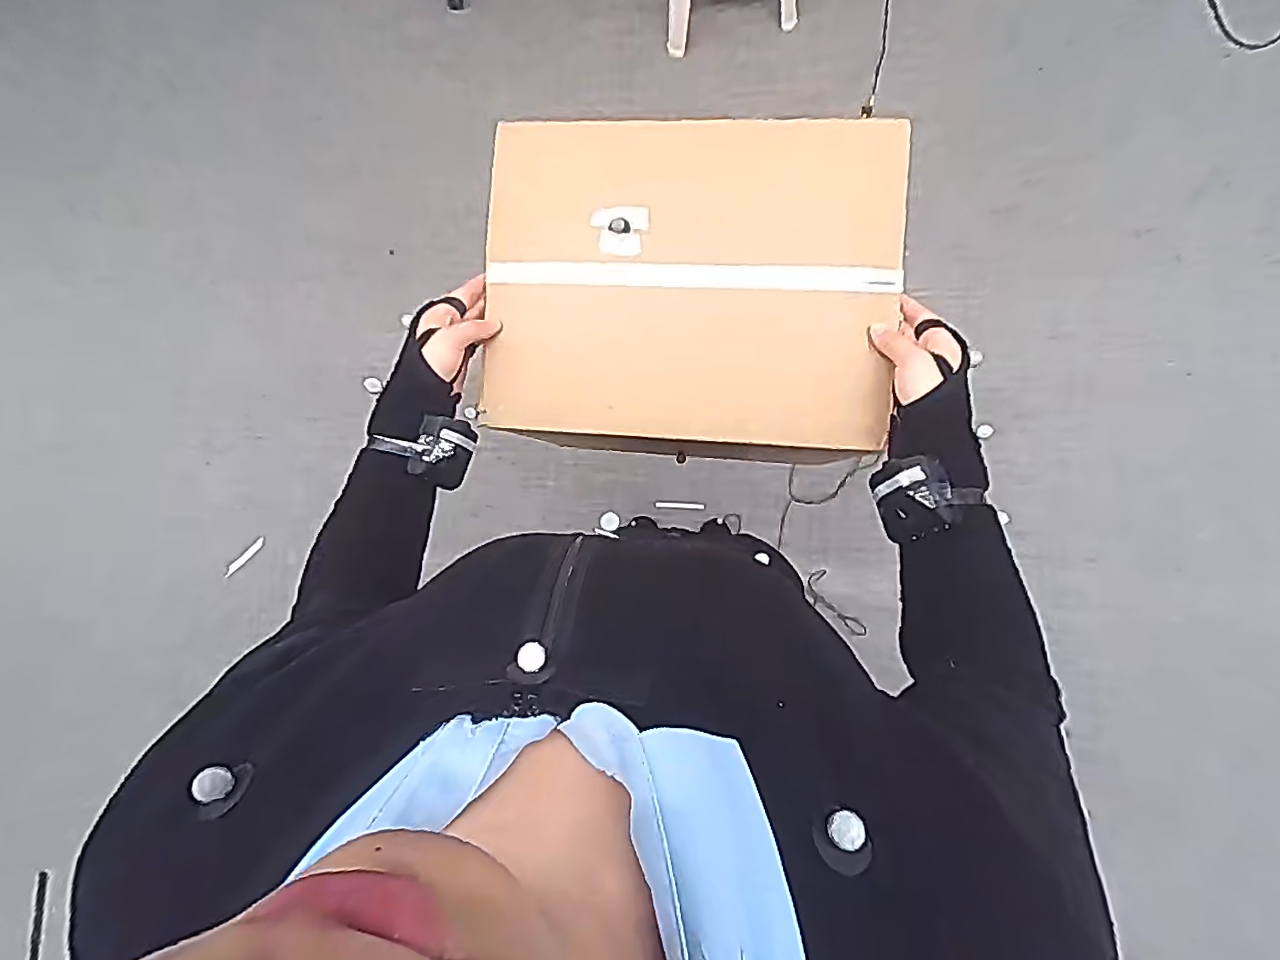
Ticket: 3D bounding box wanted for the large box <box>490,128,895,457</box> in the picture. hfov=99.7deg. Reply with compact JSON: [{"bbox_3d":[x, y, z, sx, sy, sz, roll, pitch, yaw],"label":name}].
[{"bbox_3d":[0.066,-0.194,0.692,0.408,0.320,0.320,3,88,7],"label":"large box"}]
